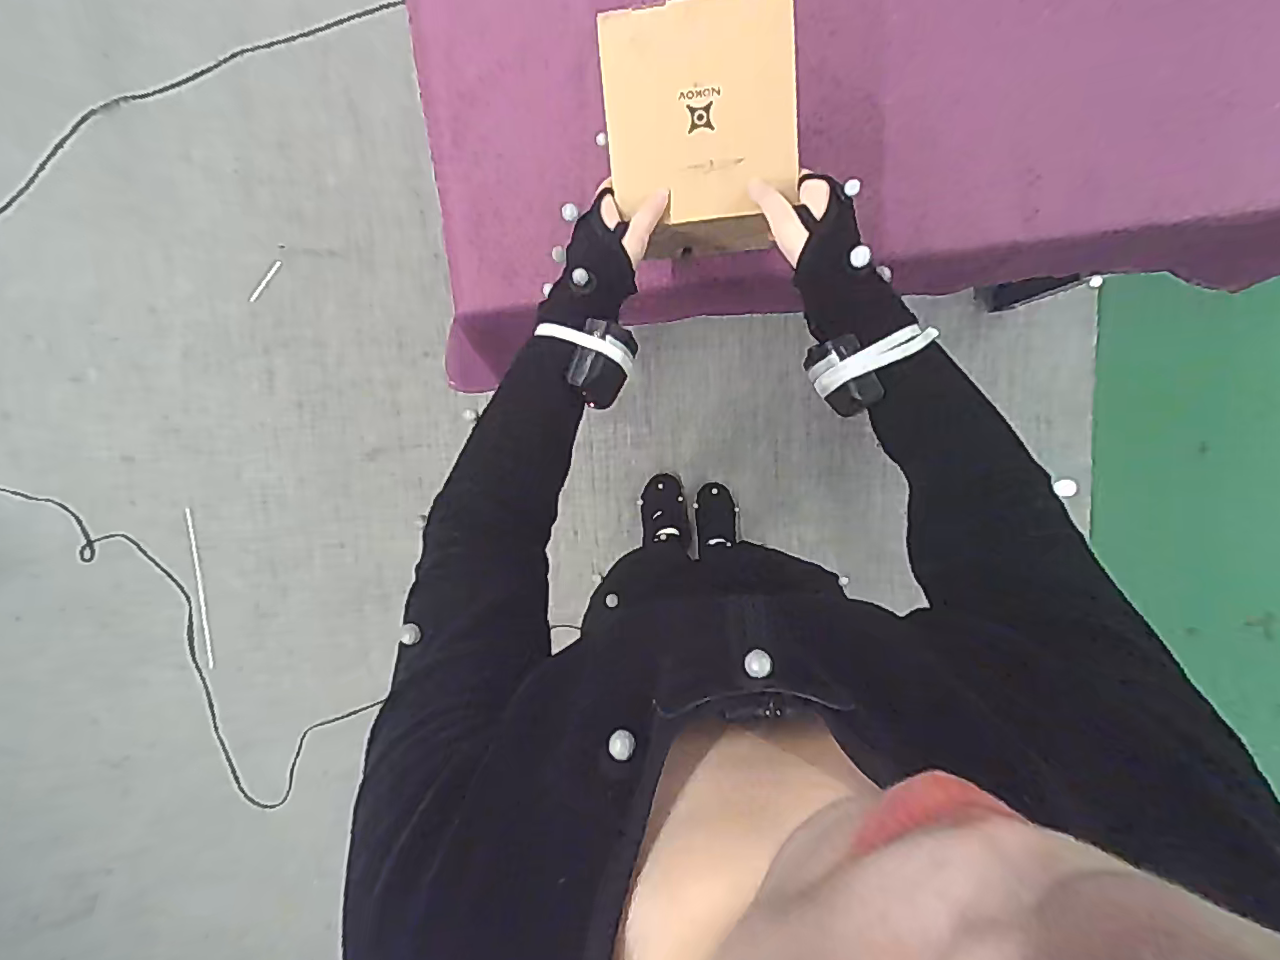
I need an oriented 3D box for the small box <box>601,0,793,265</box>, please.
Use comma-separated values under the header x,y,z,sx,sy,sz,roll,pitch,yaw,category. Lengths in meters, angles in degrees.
x,y,z,sx,sy,sz,roll,pitch,yaw,category
0.057,-0.333,0.553,0.168,0.176,0.179,-3,102,6,small box
